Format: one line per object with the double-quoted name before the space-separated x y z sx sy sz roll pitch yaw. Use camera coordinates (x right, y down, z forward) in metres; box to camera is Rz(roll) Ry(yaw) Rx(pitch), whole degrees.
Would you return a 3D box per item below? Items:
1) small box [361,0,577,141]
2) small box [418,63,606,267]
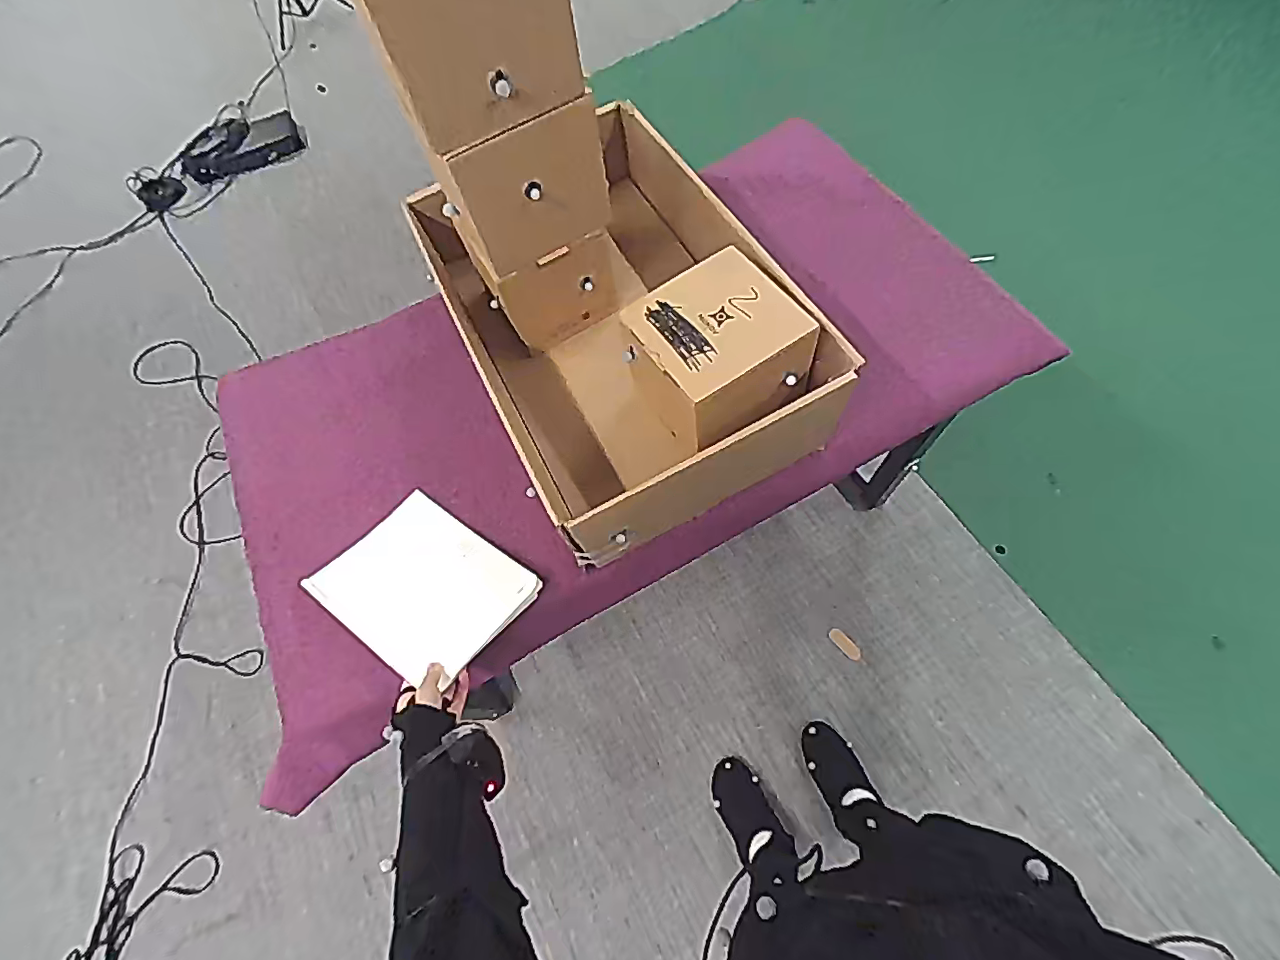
"small box" -0.171 -0.469 0.510 0.179 0.176 0.168 -28 67 -7
"small box" -0.153 -0.403 0.659 0.179 0.176 0.168 -30 67 -7
